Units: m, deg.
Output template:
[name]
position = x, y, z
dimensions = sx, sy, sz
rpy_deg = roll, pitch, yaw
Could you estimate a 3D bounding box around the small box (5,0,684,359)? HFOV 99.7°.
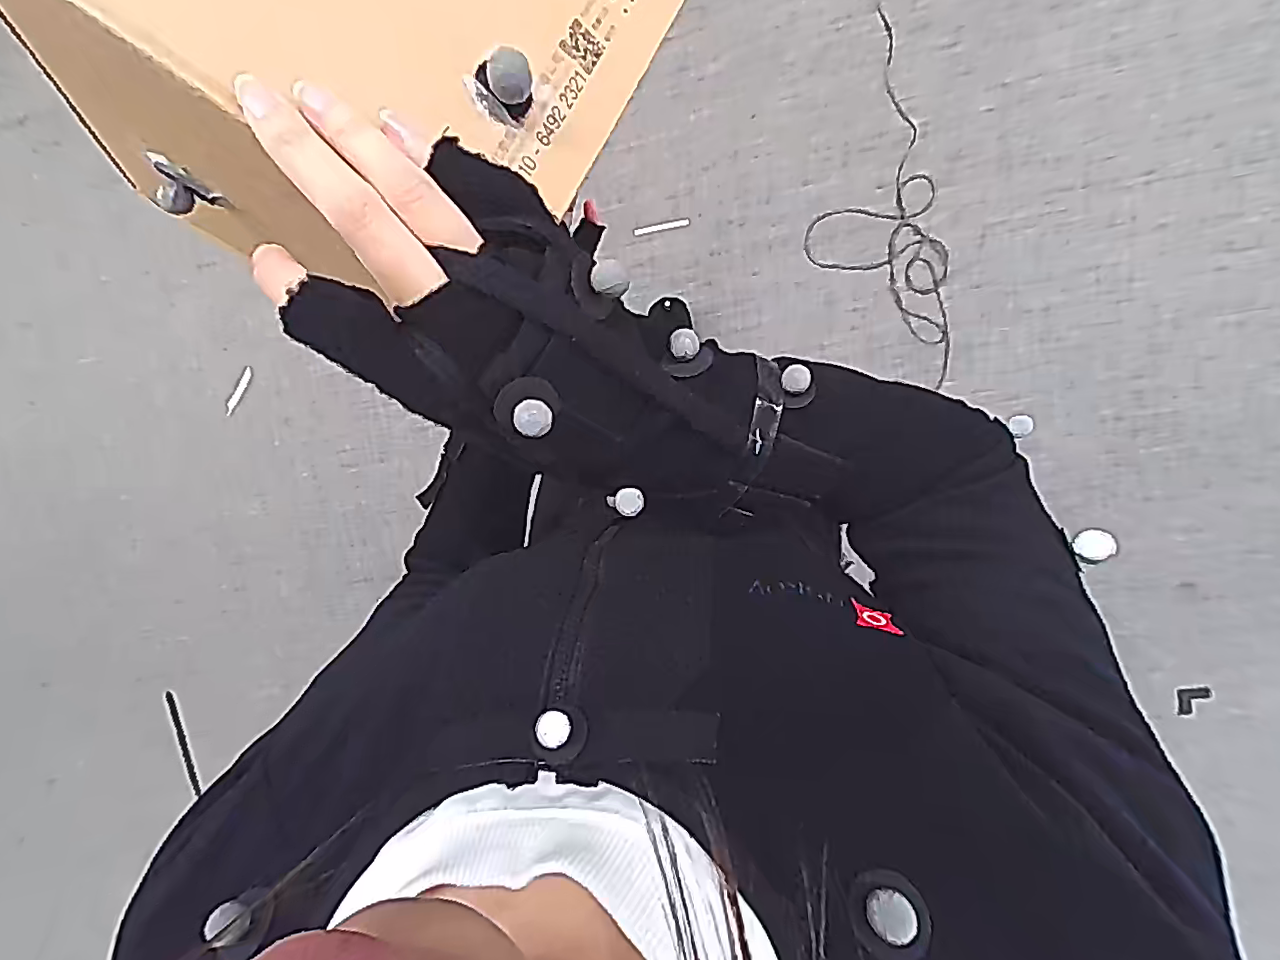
[small box]
position = -0.112, -0.175, 0.257
dimensions = 0.176, 0.179, 0.168
rpy_deg = 30, 78, -27
